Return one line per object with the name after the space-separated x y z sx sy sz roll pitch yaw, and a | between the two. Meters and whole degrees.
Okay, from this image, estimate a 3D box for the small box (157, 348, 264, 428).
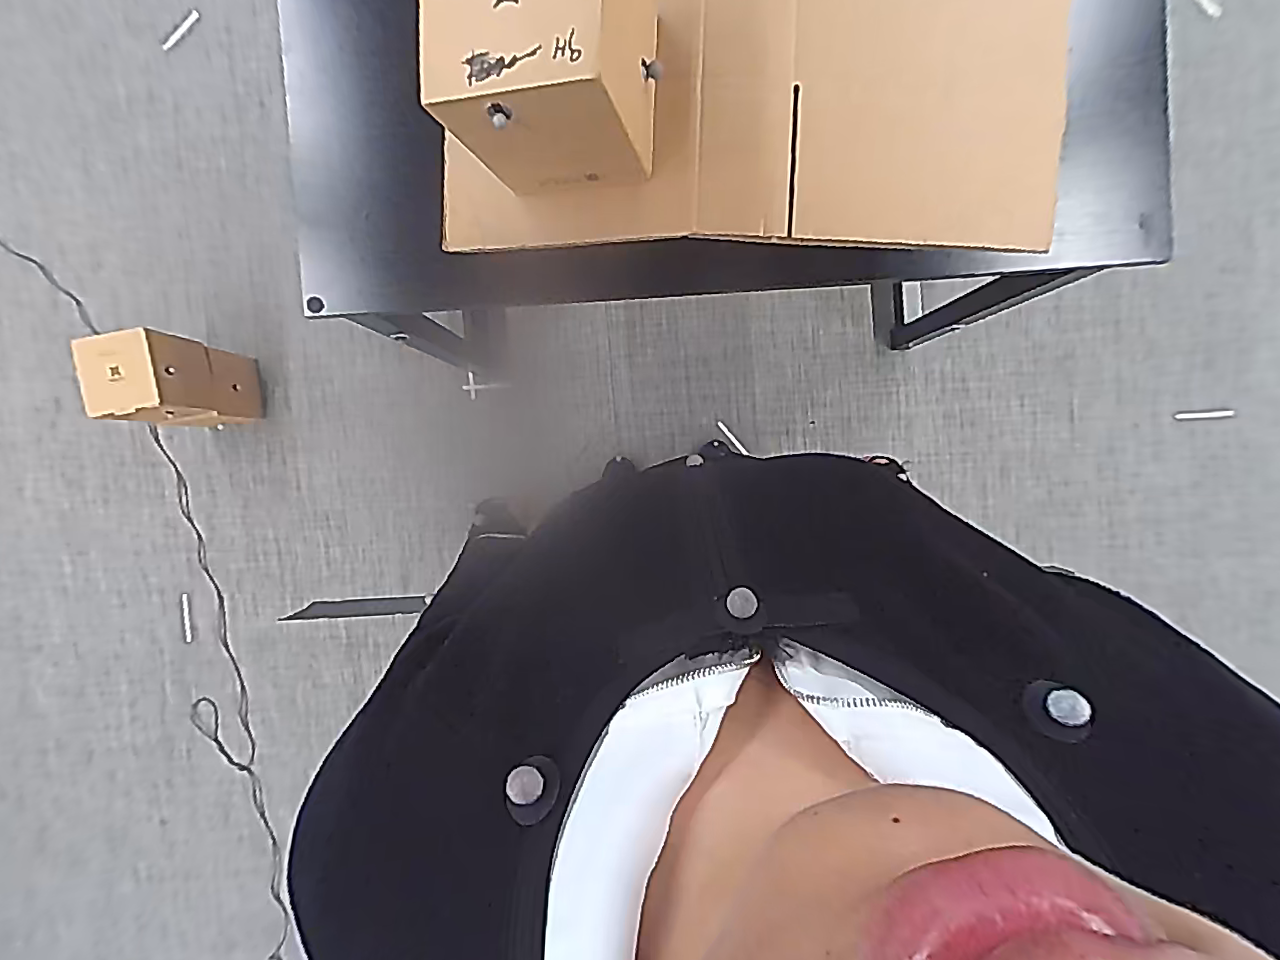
-1.134 -0.236 1.422 0.168 0.176 0.179 -7 93 1 | small box

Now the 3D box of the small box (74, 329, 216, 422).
-1.138 -0.234 1.259 0.168 0.176 0.179 -10 91 0 | small box

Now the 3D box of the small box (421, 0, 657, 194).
-0.083 -0.405 0.515 0.168 0.176 0.179 3 92 15 | small box
